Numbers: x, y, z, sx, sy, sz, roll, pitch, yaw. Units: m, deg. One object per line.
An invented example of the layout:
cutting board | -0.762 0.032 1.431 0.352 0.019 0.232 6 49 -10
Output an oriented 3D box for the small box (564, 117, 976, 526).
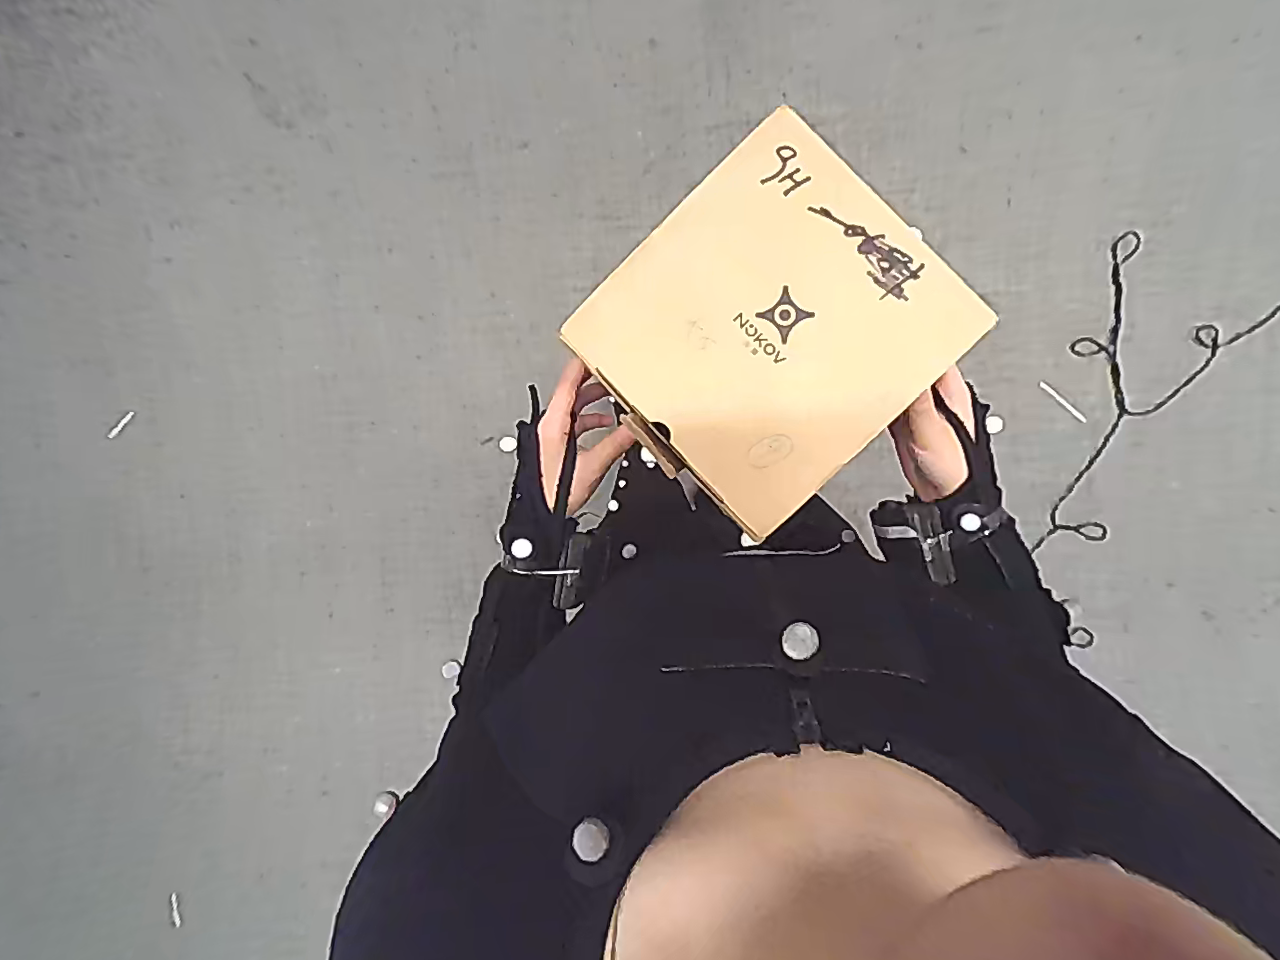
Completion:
small box | 0.078 -0.090 0.386 0.179 0.176 0.168 -44 88 4
